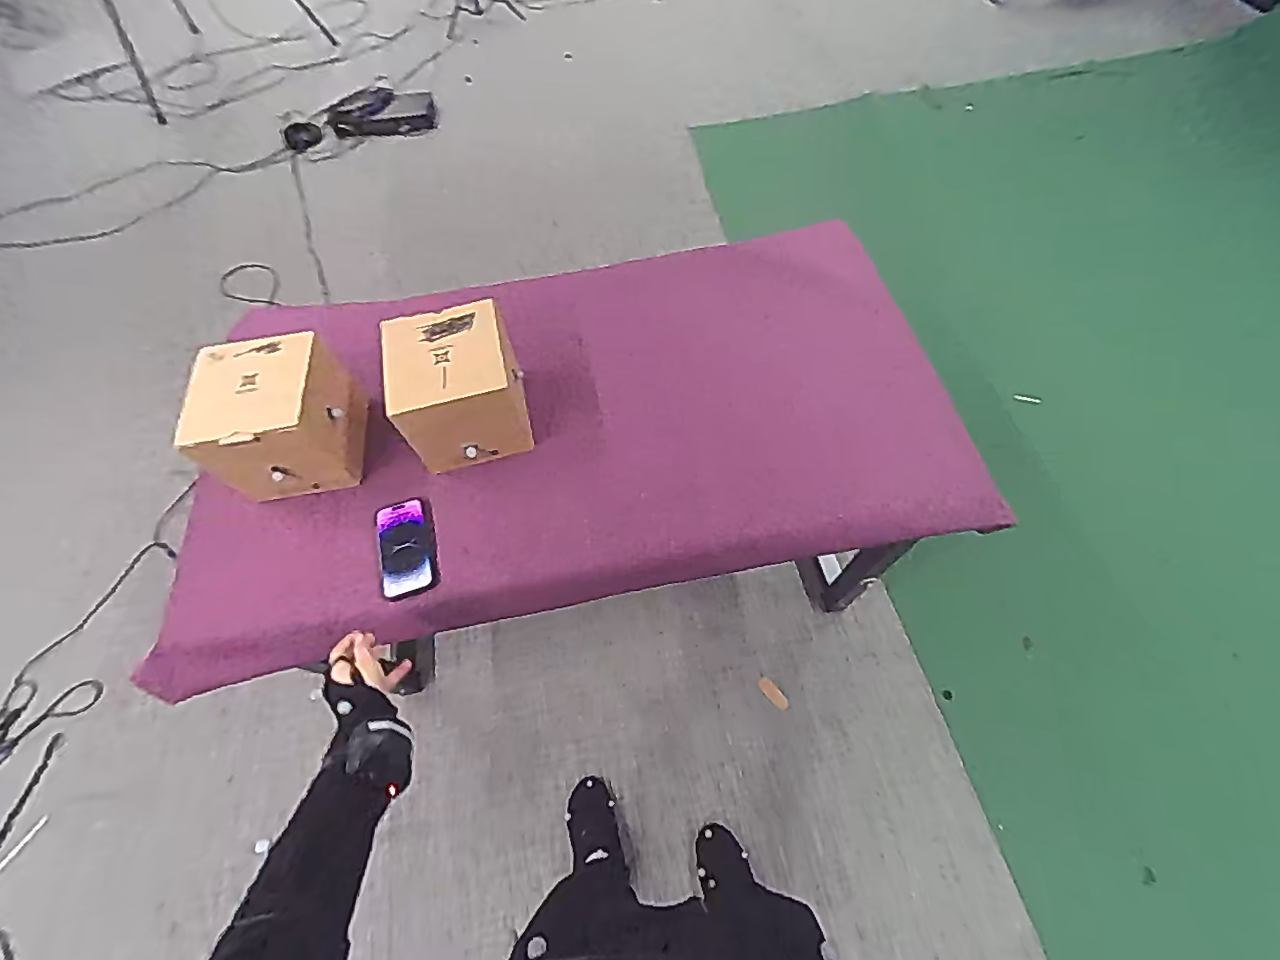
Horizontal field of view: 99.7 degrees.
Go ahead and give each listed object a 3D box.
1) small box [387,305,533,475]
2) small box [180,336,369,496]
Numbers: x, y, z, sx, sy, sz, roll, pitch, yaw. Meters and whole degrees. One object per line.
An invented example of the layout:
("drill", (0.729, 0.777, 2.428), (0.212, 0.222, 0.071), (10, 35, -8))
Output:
("small box", (-0.272, -0.134, 0.834), (0.168, 0.176, 0.179), (-14, 62, -4))
("small box", (-0.536, -0.087, 0.823), (0.168, 0.176, 0.179), (-9, 62, -2))
